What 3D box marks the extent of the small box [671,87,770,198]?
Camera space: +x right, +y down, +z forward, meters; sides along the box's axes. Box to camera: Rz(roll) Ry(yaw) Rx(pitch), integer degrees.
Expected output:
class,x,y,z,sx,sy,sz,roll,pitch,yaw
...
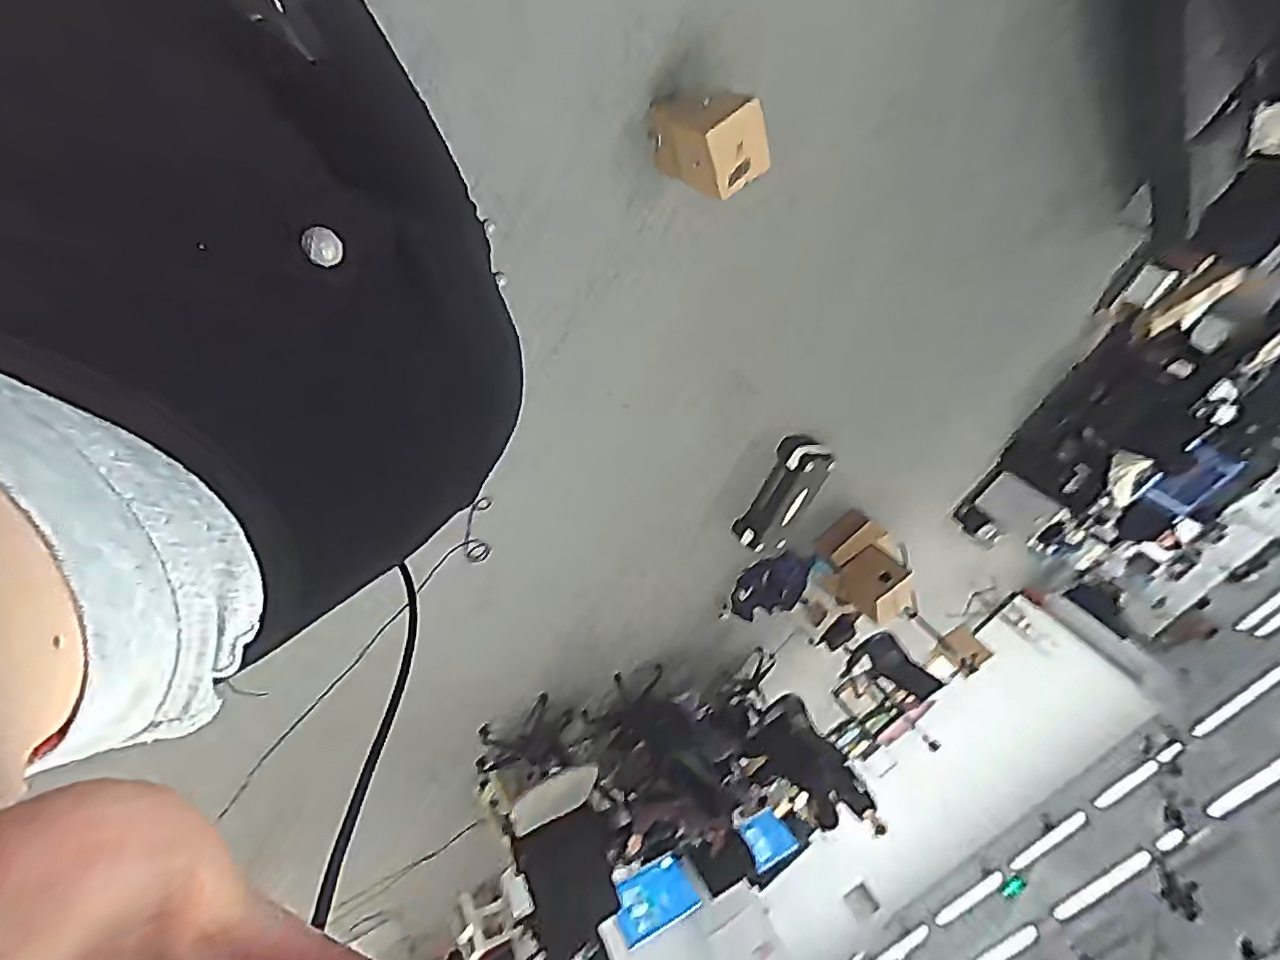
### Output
class,x,y,z,sx,sy,sz,roll,pitch,yaw
small box,0.206,-0.869,1.390,0.168,0.176,0.179,-38,140,-4

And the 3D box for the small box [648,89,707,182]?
class,x,y,z,sx,sy,sz,roll,pitch,yaw
small box,0.145,-0.967,1.511,0.179,0.176,0.168,-28,139,-13
